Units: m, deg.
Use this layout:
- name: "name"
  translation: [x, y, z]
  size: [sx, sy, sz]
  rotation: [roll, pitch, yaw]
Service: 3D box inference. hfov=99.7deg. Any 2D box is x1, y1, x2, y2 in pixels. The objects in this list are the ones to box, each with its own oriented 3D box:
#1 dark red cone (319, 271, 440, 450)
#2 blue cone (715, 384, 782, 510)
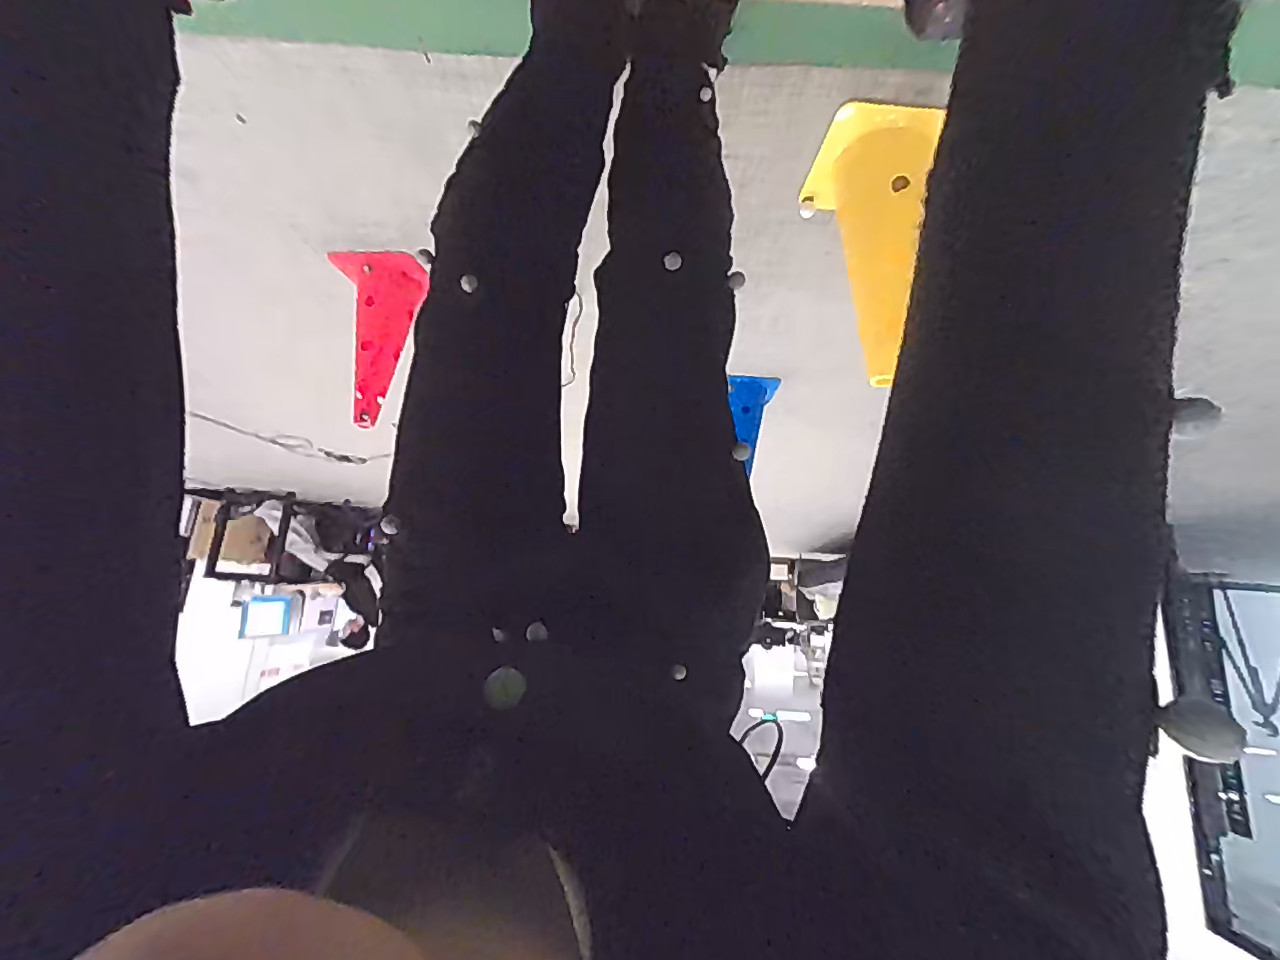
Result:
- name: "dark red cone"
  translation: [-0.596, -0.253, 1.177]
  size: [0.202, 0.394, 0.201]
  rotation: [3, 163, 9]
- name: "blue cone"
  translation: [0.321, -0.099, 1.642]
  size: [0.192, 0.380, 0.193]
  rotation: [4, 166, 1]
